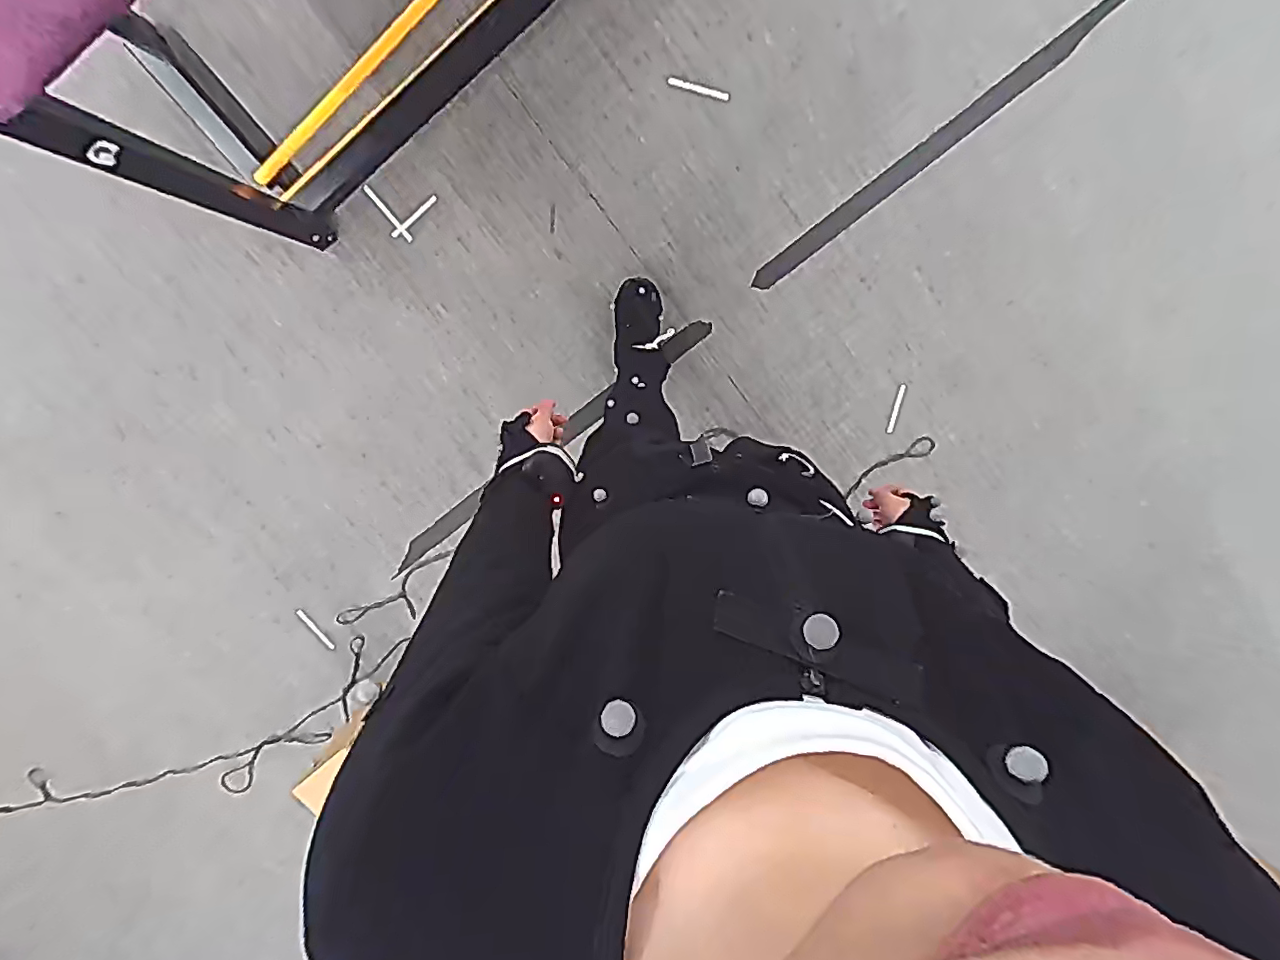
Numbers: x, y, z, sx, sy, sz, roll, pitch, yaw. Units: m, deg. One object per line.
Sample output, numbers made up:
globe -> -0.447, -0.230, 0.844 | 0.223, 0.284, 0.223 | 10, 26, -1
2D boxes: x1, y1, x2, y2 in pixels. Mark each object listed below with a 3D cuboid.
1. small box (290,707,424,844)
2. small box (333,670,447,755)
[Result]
small box -> -0.632, 0.664, 1.232 | 0.179, 0.176, 0.168 | -40, 99, 6
small box -> -0.633, 0.634, 1.394 | 0.179, 0.176, 0.168 | -38, 99, 6
